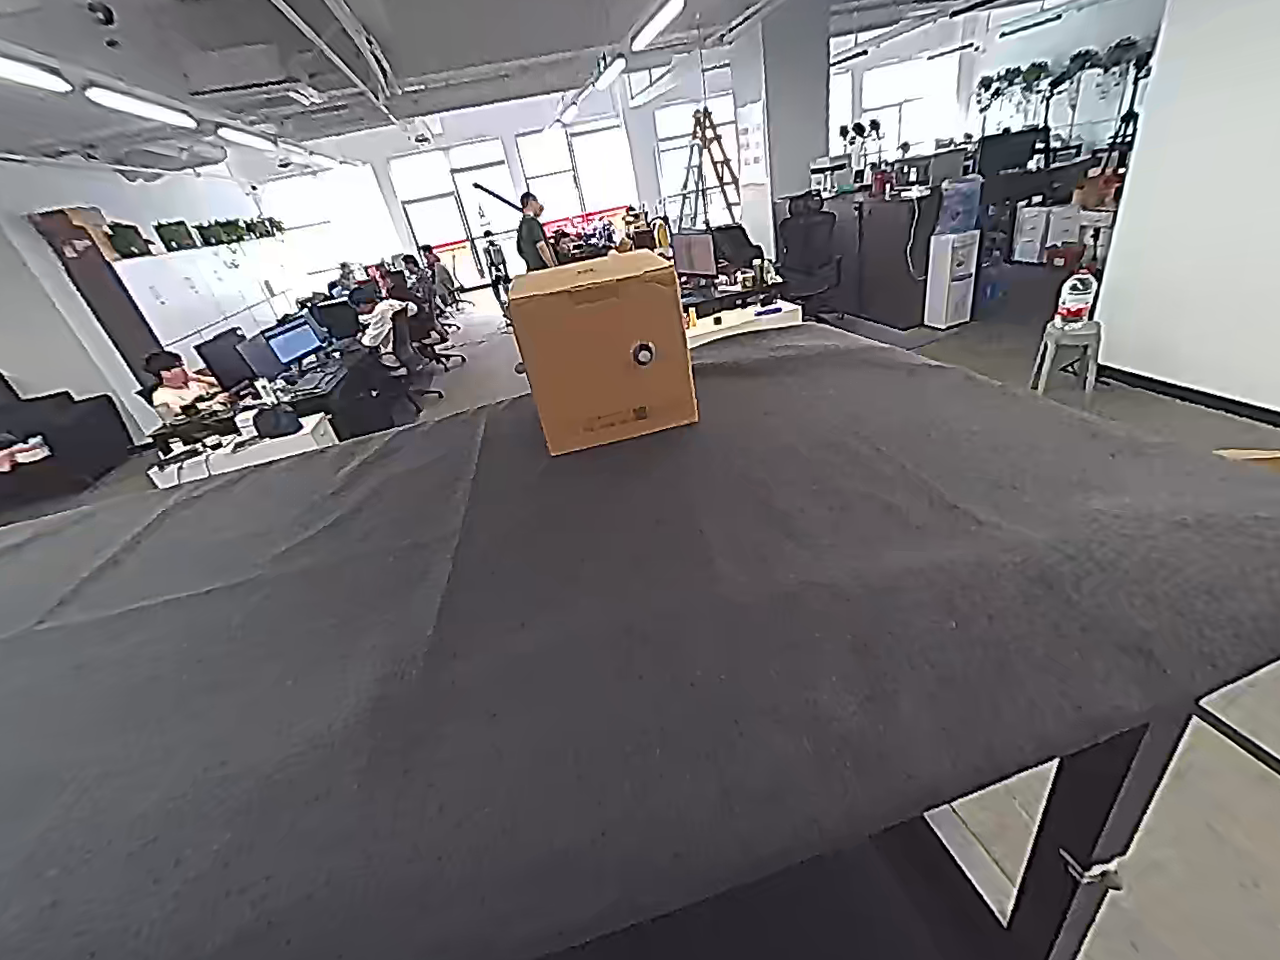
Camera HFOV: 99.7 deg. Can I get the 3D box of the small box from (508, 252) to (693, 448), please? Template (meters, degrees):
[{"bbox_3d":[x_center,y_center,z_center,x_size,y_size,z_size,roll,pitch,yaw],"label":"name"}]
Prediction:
[{"bbox_3d":[-0.043,-0.147,0.616,0.168,0.176,0.179,-13,29,-4],"label":"small box"}]
